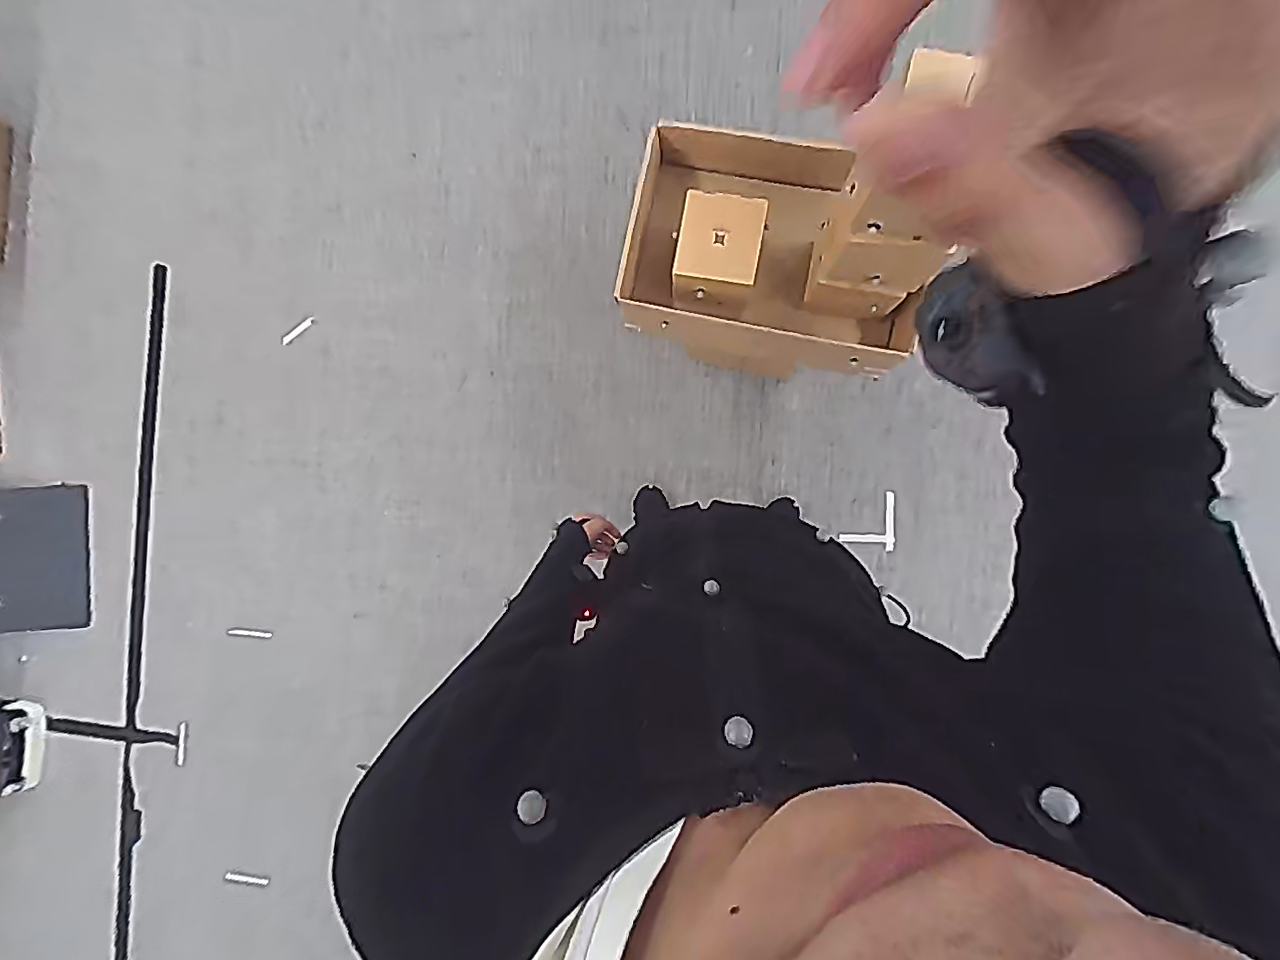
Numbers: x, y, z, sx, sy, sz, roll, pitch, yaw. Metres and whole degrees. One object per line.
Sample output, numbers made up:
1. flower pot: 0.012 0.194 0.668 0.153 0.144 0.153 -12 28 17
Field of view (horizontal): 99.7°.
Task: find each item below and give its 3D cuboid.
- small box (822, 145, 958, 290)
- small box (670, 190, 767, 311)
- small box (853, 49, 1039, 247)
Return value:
1. small box: 0.443 -0.452 0.957 0.179 0.176 0.168 10 89 5
2. small box: 0.164 -0.478 1.151 0.168 0.176 0.179 11 89 5
3. small box: 0.430 -0.471 0.793 0.168 0.176 0.179 14 89 5
